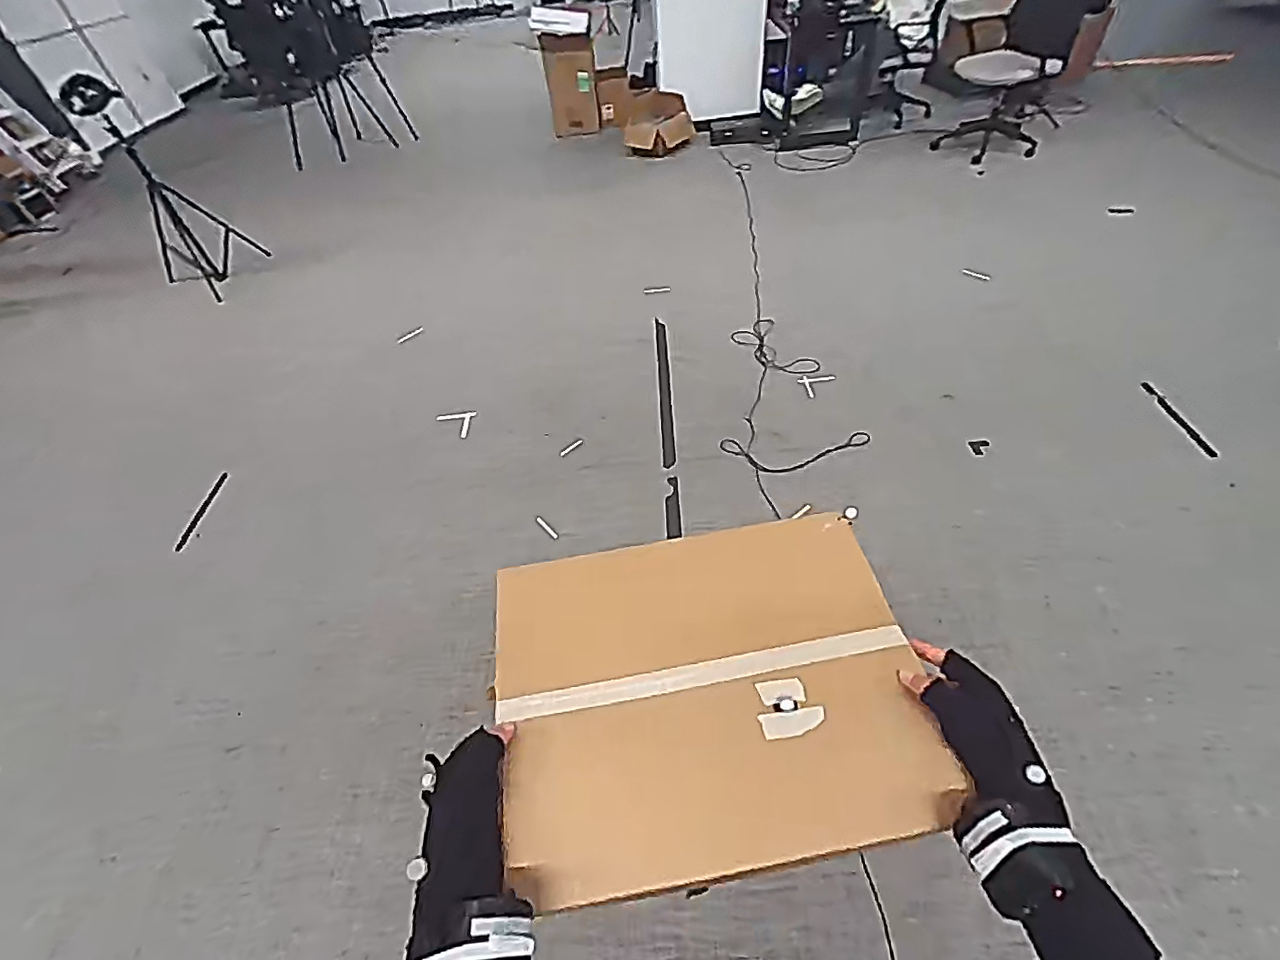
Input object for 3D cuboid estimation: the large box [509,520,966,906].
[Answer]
[{"bbox_3d":[0.074,0.290,0.664,0.408,0.320,0.320,-9,53,-3],"label":"large box"}]
